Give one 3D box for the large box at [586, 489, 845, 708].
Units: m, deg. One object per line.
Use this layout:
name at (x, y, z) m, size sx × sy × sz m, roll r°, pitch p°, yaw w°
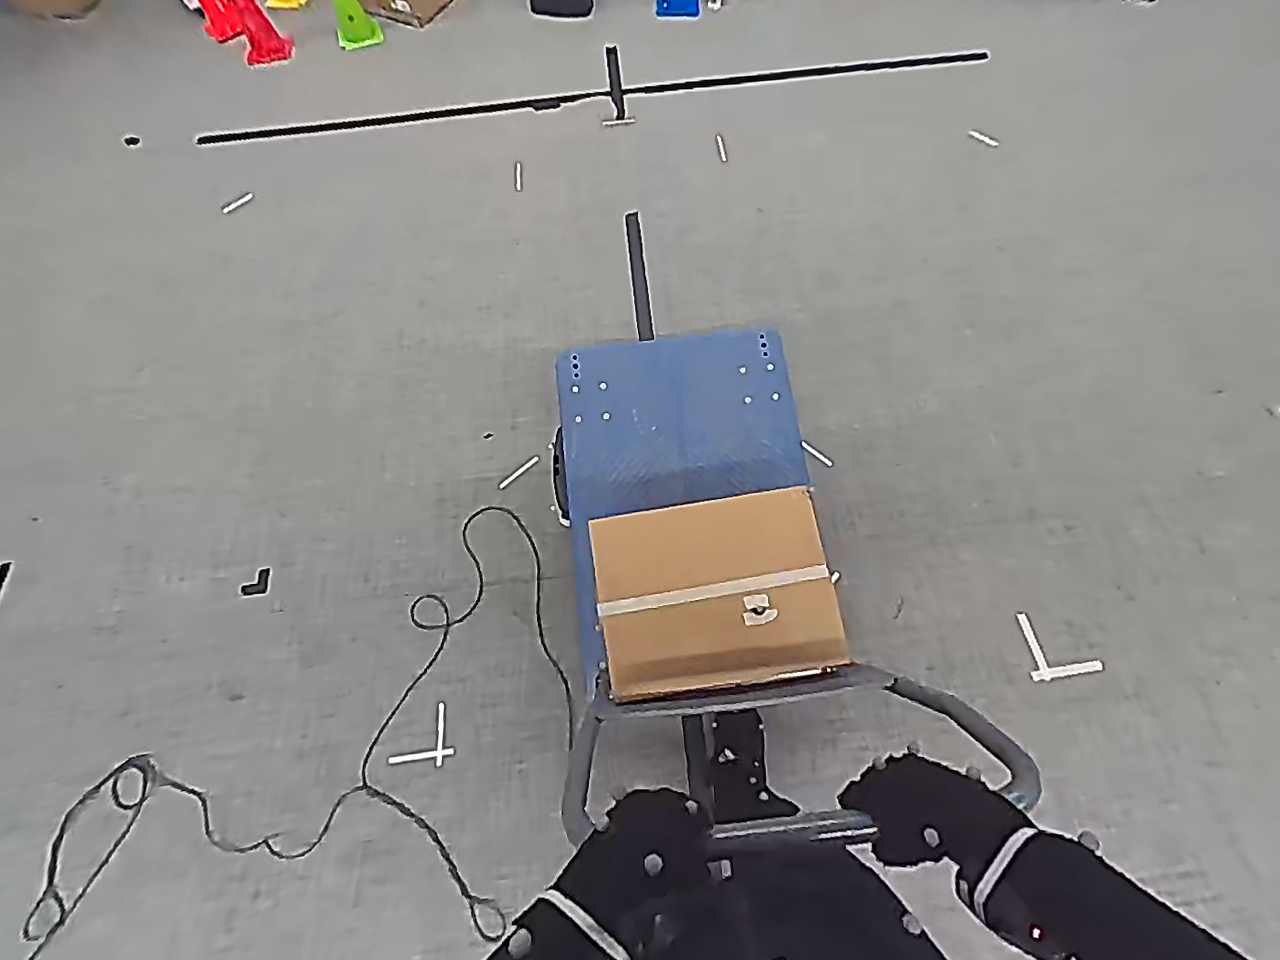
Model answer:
large box at (0.123, 0.234, 1.076) m, size 0.408 × 0.320 × 0.320 m, roll -9°, pitch 77°, yaw -3°
